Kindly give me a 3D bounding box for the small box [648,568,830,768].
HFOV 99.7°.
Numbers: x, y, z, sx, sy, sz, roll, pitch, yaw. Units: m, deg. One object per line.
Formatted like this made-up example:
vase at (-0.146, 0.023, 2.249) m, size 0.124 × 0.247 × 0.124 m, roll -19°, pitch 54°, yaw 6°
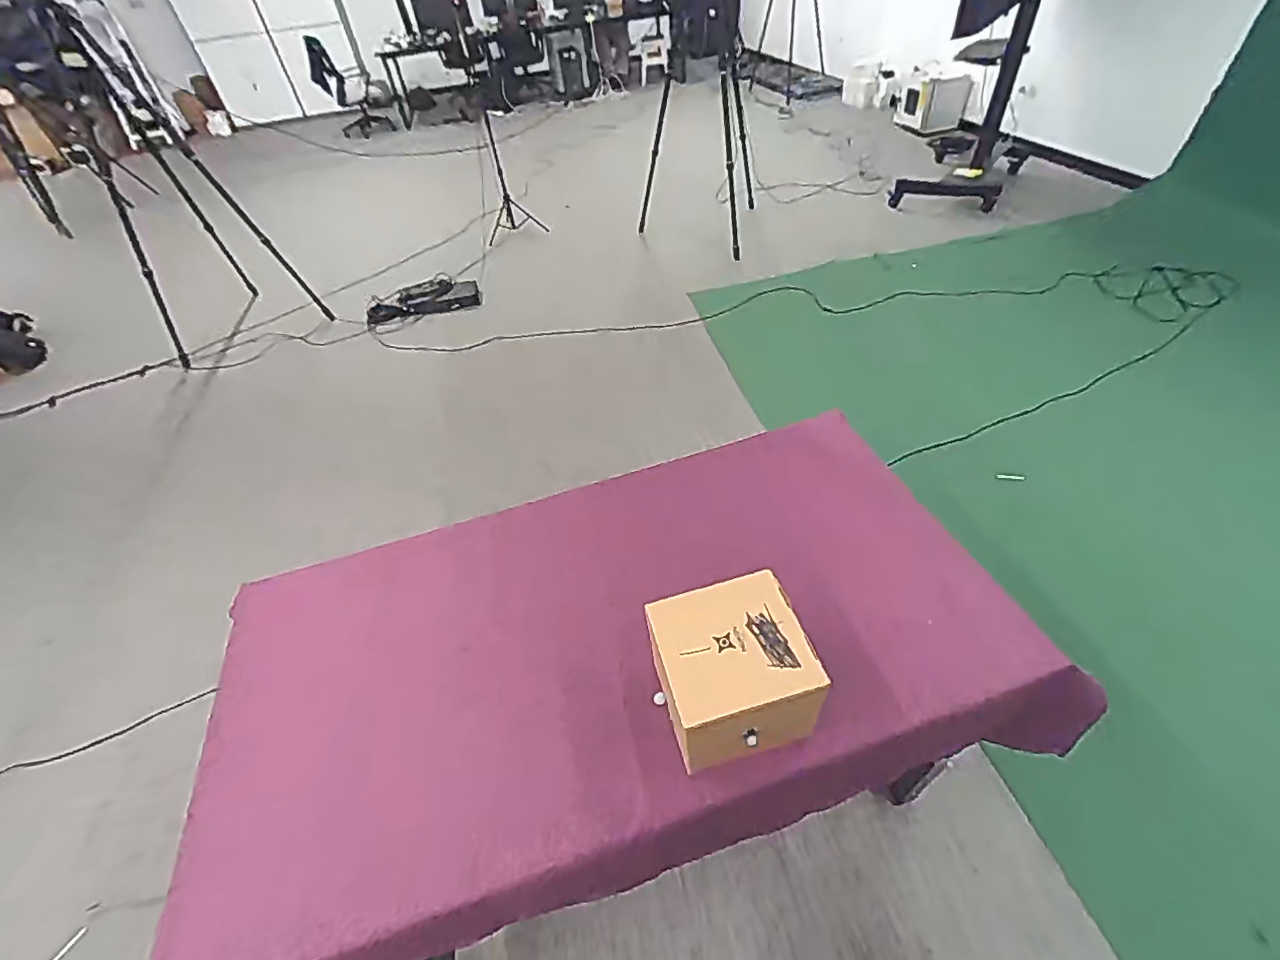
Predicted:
small box at (0.119, 0.246, 0.704) m, size 0.179 × 0.176 × 0.168 m, roll -15°, pitch 46°, yaw -5°
